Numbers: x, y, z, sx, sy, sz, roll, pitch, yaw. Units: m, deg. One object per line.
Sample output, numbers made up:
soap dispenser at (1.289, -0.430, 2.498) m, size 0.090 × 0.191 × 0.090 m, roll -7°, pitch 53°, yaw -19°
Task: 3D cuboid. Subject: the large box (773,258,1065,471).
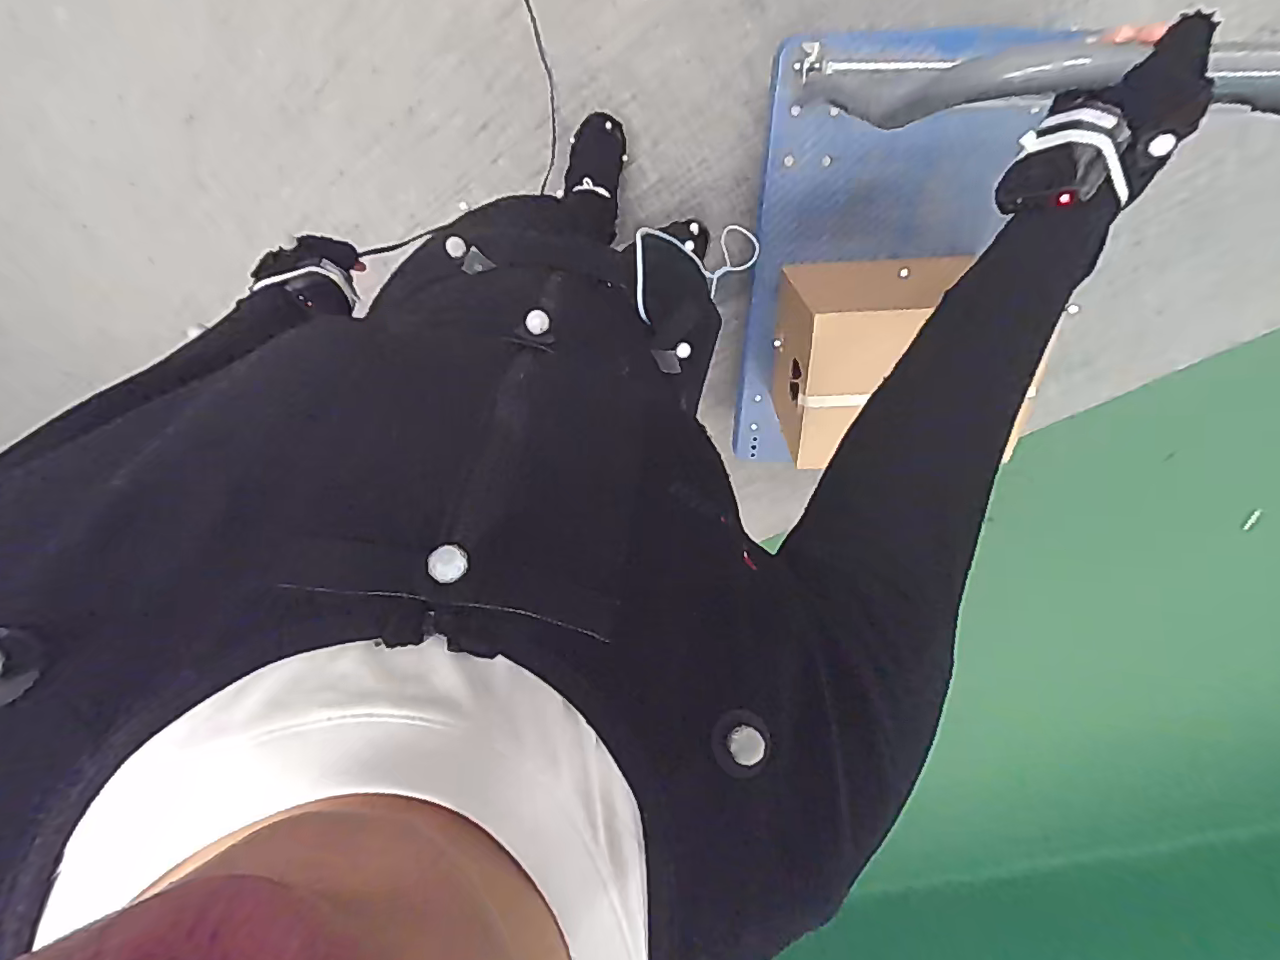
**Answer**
large box at (0.496, -0.239, 1.081) m, size 0.408 × 0.320 × 0.320 m, roll -3°, pitch 126°, yaw 3°
